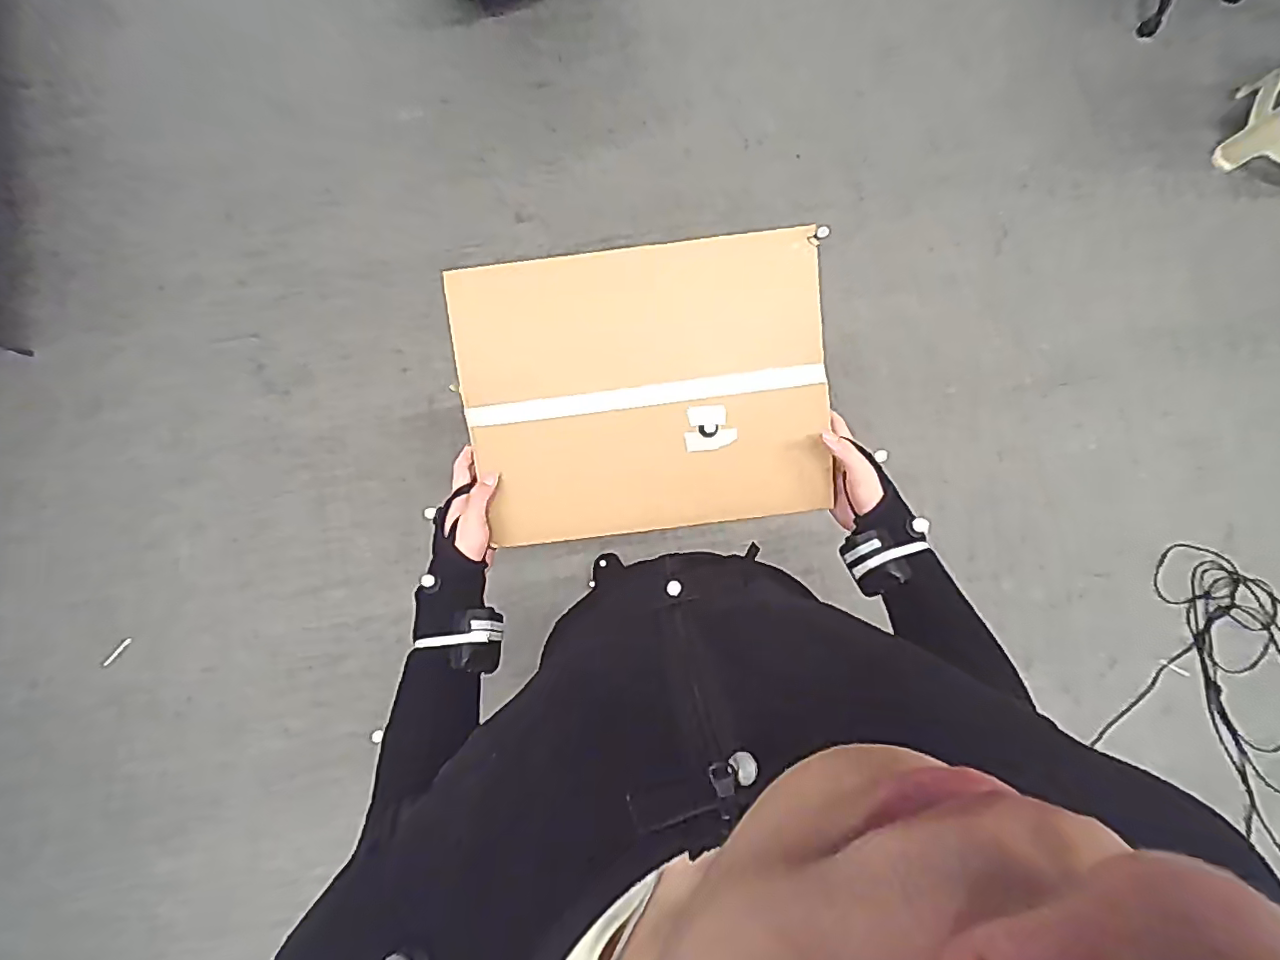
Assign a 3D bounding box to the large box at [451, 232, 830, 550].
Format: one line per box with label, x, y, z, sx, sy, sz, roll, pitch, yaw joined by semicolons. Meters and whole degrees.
large box;0.004;-0.115;0.761;0.408;0.320;0.320;-8;99;0
